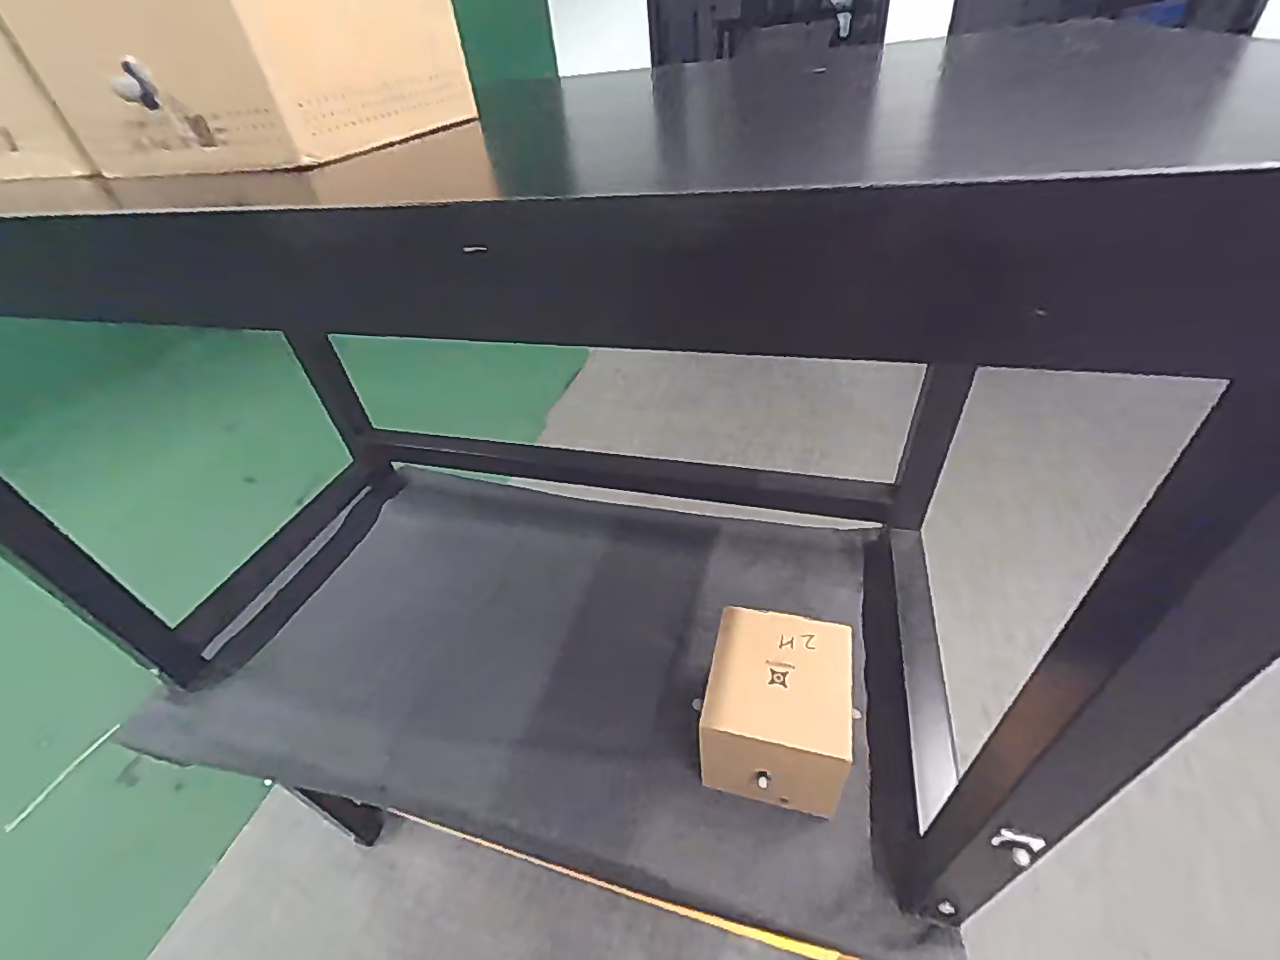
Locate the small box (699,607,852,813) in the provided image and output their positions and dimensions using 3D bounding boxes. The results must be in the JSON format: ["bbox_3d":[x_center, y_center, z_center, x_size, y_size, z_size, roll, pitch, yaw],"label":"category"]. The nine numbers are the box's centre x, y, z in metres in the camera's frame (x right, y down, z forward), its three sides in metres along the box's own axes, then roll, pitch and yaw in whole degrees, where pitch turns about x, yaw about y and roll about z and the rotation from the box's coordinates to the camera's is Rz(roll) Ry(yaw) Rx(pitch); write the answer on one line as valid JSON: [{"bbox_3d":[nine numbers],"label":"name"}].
[{"bbox_3d":[0.177,0.298,0.705,0.168,0.176,0.179,7,41,16],"label":"small box"}]

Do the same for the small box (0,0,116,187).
[{"bbox_3d":[-0.599,-0.338,0.441,0.168,0.176,0.179,8,43,17],"label":"small box"}]
